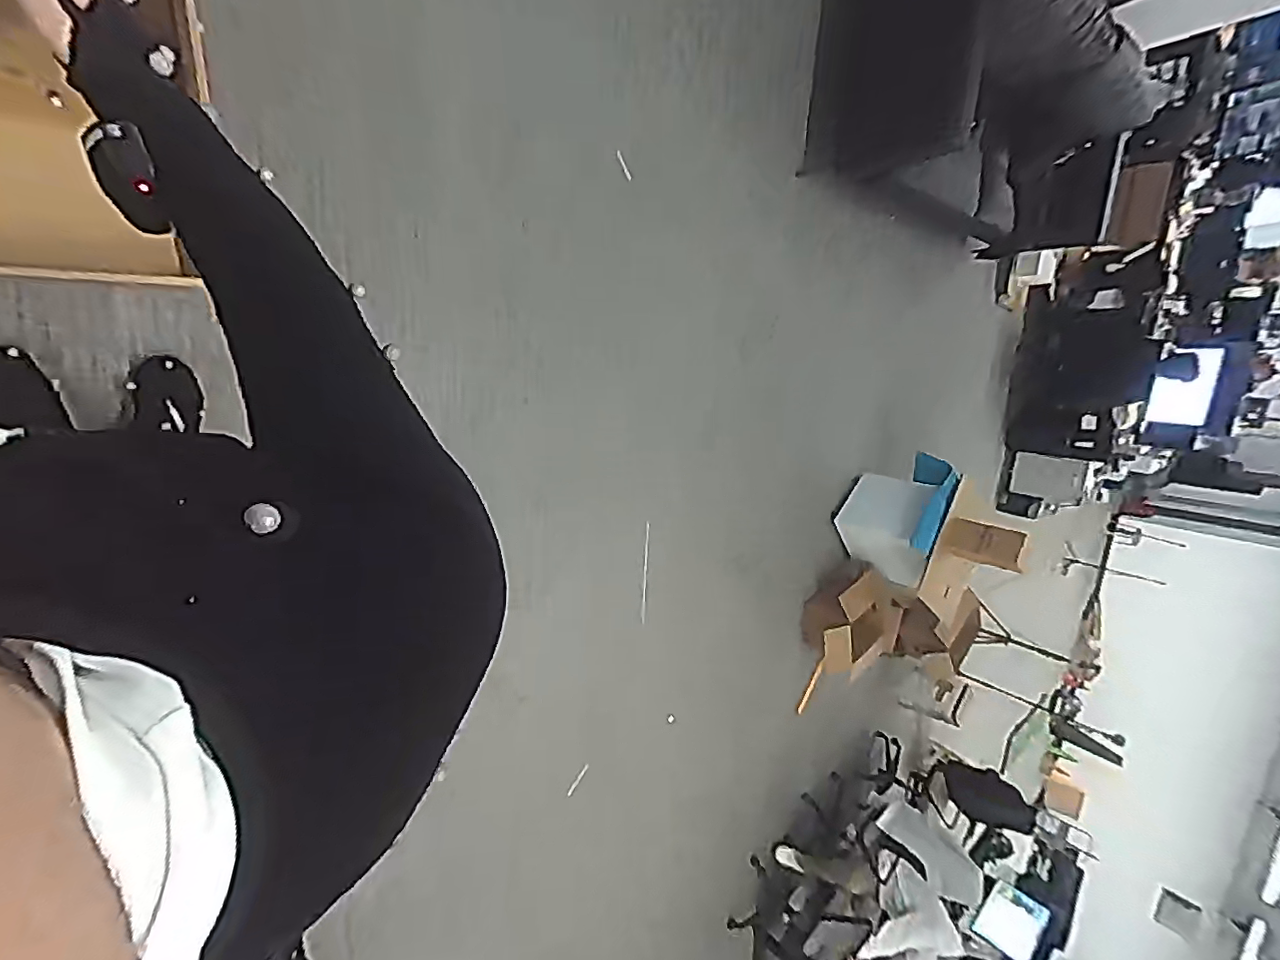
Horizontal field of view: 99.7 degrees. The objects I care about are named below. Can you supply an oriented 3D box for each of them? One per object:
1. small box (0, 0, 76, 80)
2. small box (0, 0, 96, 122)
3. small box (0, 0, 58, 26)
[{"bbox_3d":[-0.710,-0.553,0.550,0.168,0.176,0.179,-8,104,-40],"label":"small box"},{"bbox_3d":[-0.818,-0.577,0.671,0.179,0.176,0.168,-10,107,-40],"label":"small box"},{"bbox_3d":[-0.604,-0.522,0.427,0.168,0.176,0.179,-10,107,-39],"label":"small box"}]
